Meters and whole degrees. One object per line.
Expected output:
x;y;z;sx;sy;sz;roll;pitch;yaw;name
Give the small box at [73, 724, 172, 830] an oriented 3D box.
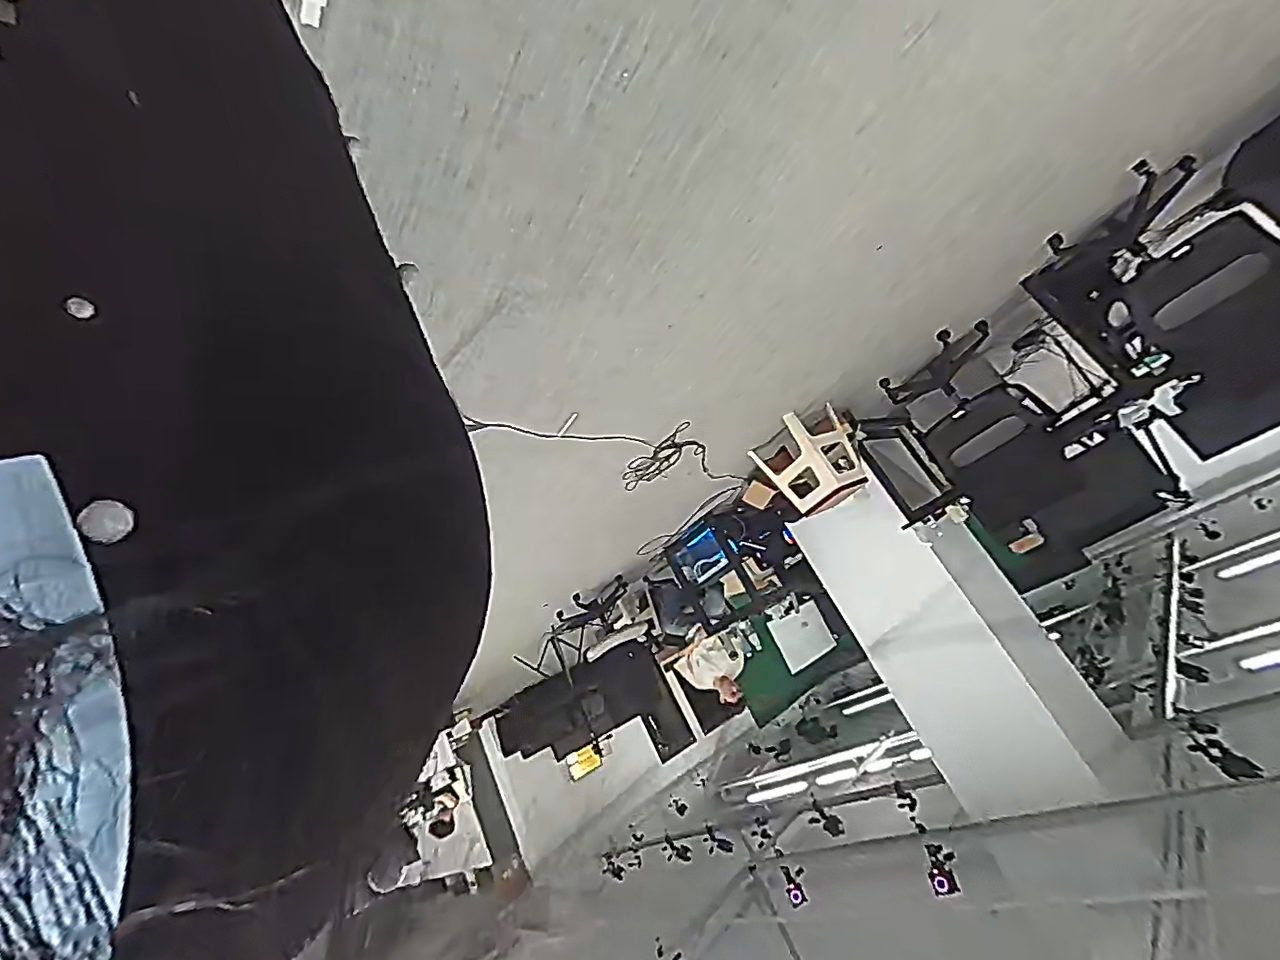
-1.313;0.748;1.375;0.168;0.176;0.179;-8;150;-46;small box
